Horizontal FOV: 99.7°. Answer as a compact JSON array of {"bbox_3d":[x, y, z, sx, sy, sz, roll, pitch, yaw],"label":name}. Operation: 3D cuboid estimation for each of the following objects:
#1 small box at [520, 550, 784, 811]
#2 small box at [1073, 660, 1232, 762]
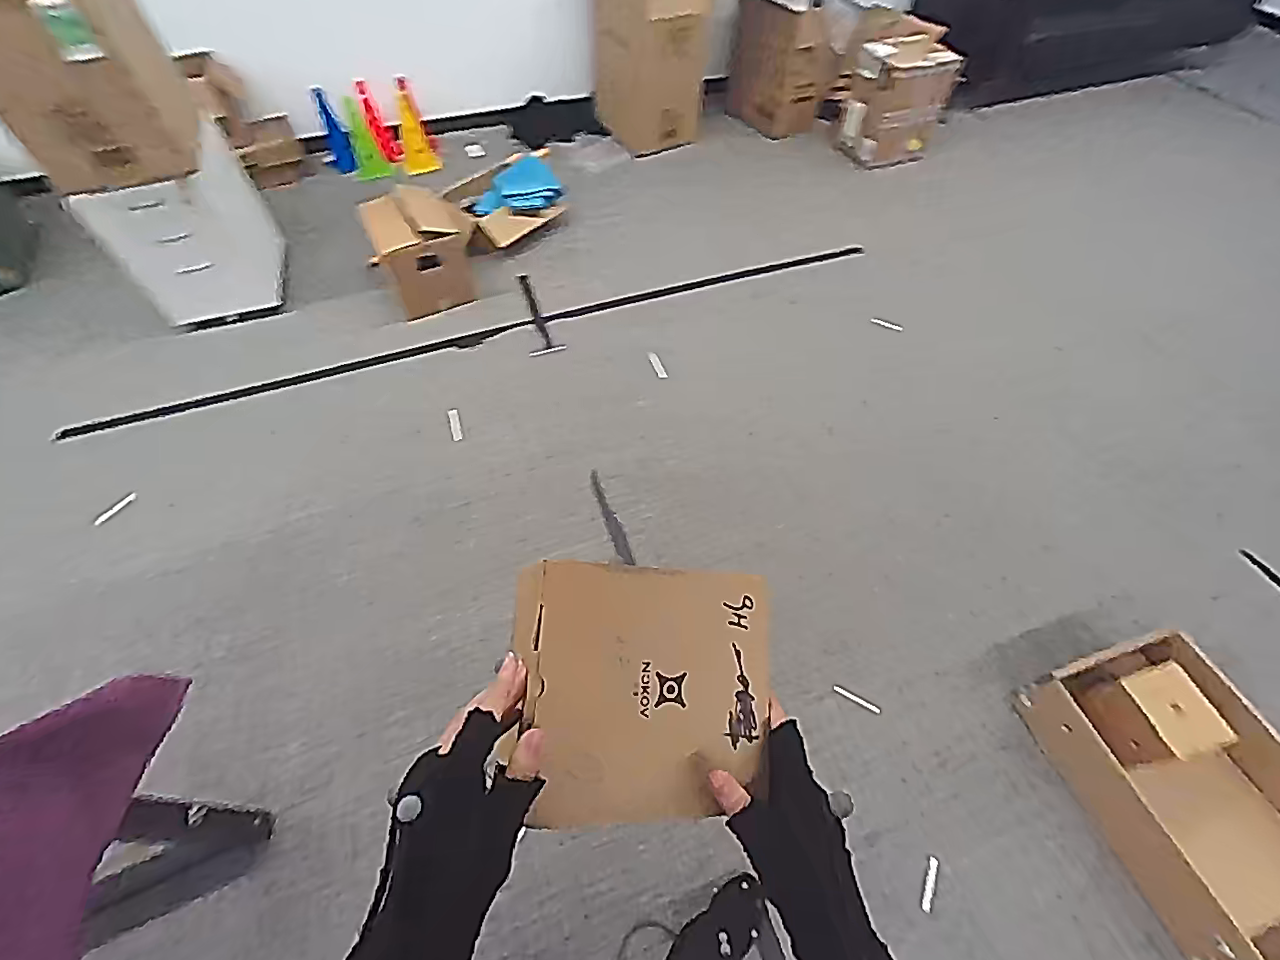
[{"bbox_3d":[0.000,0.157,0.449,0.179,0.176,0.168,8,75,-16],"label":"small box"},{"bbox_3d":[1.207,0.557,1.291,0.168,0.176,0.179,-13,56,-10],"label":"small box"}]
